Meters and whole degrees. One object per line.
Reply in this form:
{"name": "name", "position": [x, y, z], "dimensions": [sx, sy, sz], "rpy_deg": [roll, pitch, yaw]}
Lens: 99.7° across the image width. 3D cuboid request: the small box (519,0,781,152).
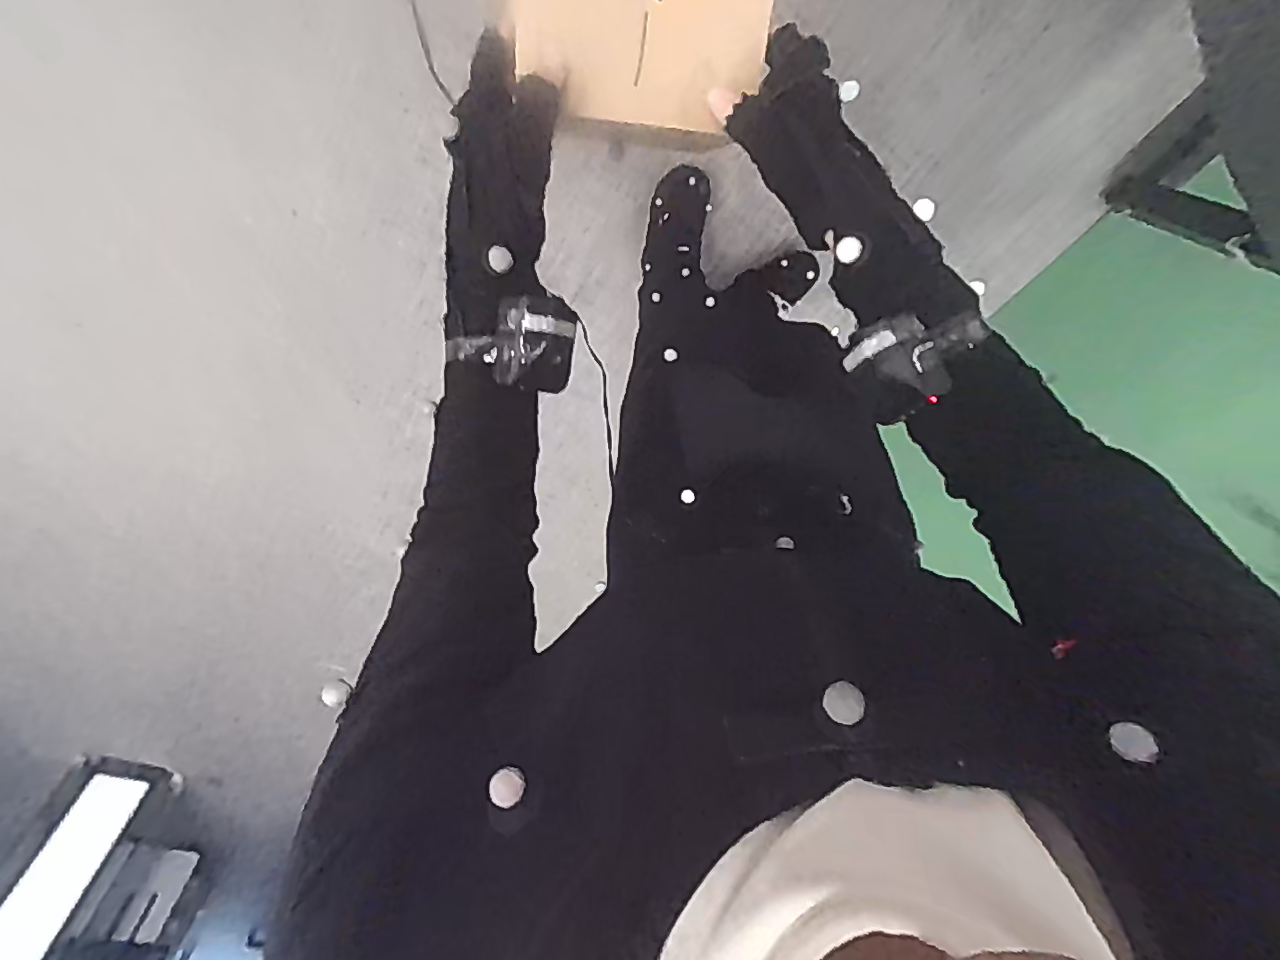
{"name": "small box", "position": [0.002, -0.355, 0.395], "dimensions": [0.168, 0.176, 0.179], "rpy_deg": [3, 119, -7]}
